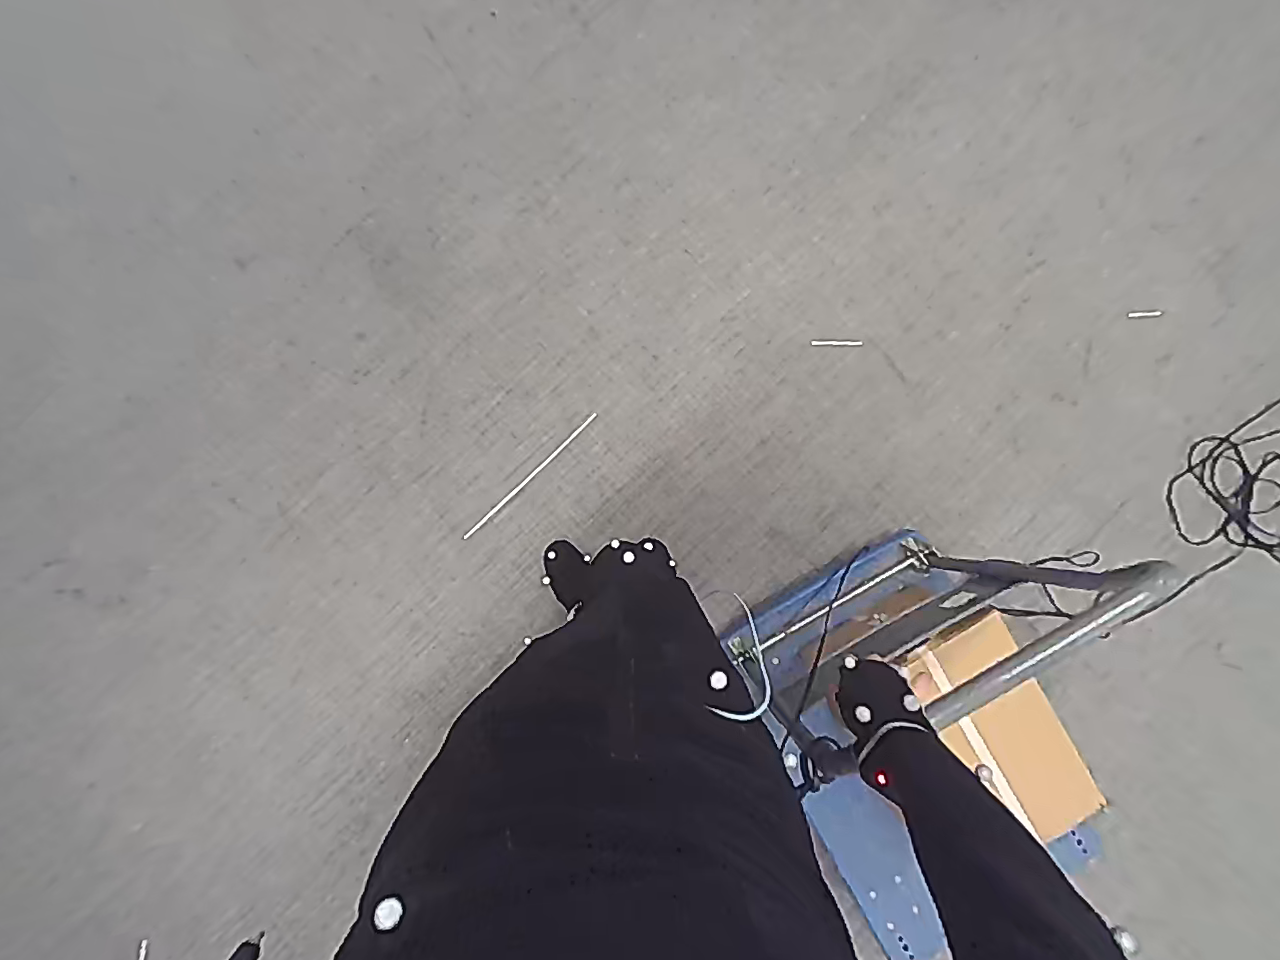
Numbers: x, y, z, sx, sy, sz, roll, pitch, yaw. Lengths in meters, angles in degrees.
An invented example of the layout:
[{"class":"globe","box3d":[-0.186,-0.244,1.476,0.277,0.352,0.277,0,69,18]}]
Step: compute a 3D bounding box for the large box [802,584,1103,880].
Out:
[{"class":"large box","box3d":[0.609,0.481,1.128,0.320,0.320,0.408,-29,89,-3]}]
